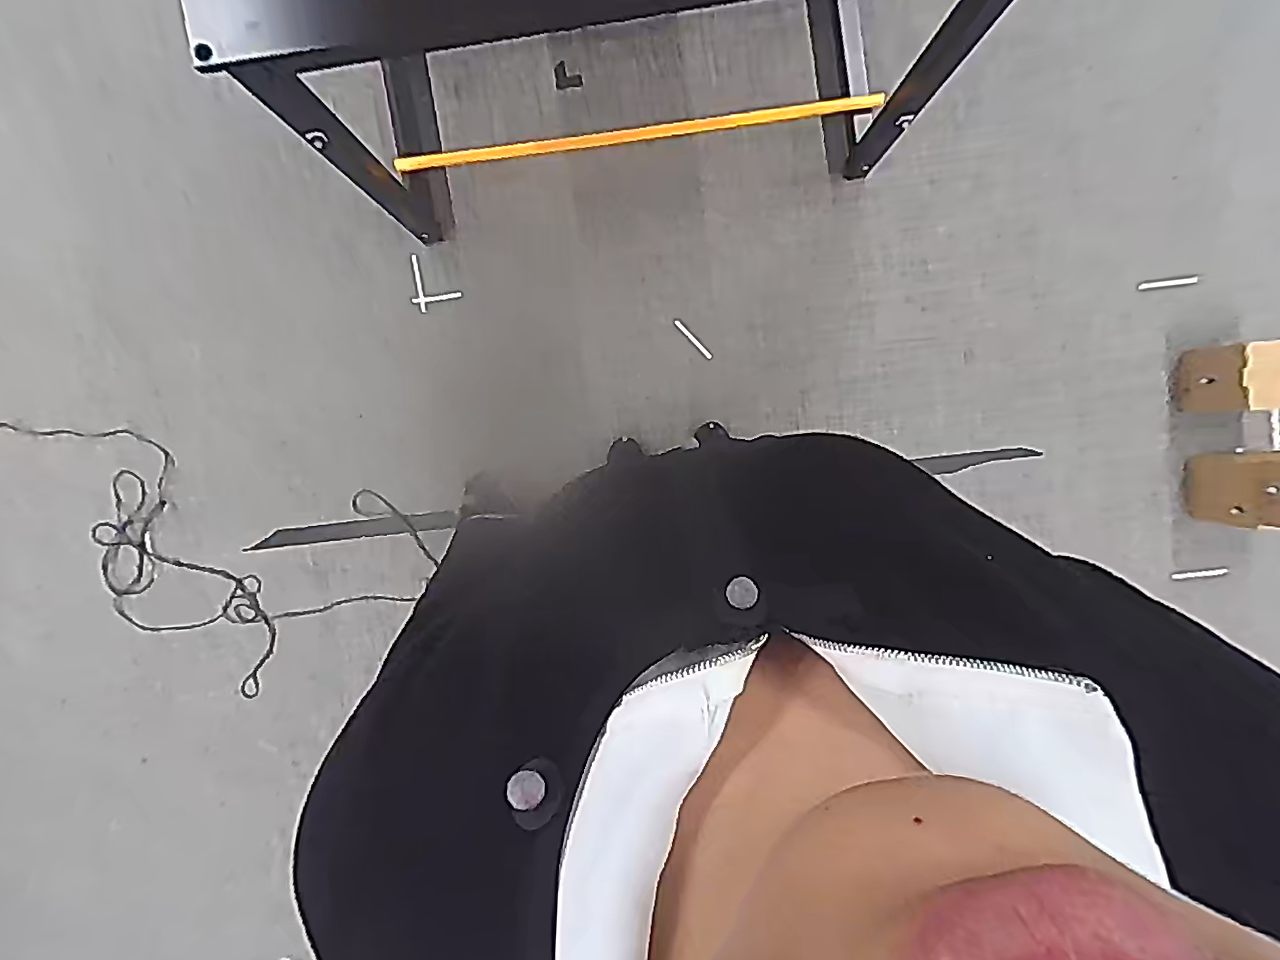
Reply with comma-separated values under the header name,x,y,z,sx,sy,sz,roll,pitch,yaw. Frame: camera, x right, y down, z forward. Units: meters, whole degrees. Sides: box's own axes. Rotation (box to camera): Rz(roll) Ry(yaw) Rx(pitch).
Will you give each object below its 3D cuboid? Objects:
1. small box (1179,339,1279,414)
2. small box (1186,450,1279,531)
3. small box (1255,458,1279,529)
name,x,y,z,sx,sy,sz,roll,pitch,yaw
small box,1.530,-0.260,1.374,0.179,0.176,0.168,-5,94,2
small box,1.575,0.022,1.398,0.168,0.176,0.179,-9,95,1
small box,1.584,0.030,1.235,0.179,0.176,0.168,-7,94,2
